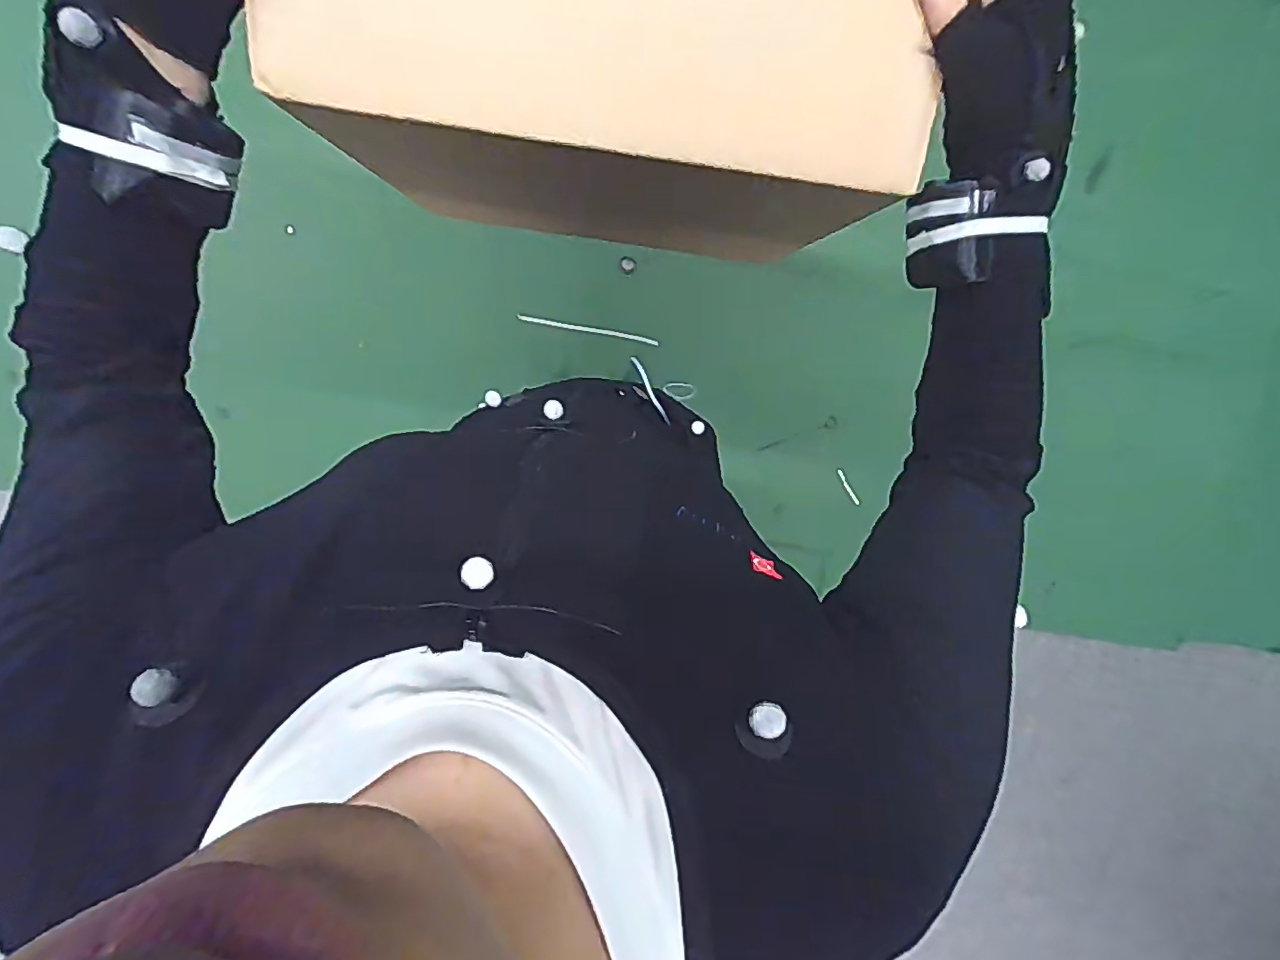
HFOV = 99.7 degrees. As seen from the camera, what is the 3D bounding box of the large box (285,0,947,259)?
[{"bbox_3d":[-0.010,-0.393,0.454,0.408,0.320,0.320,6,104,-5],"label":"large box"}]
